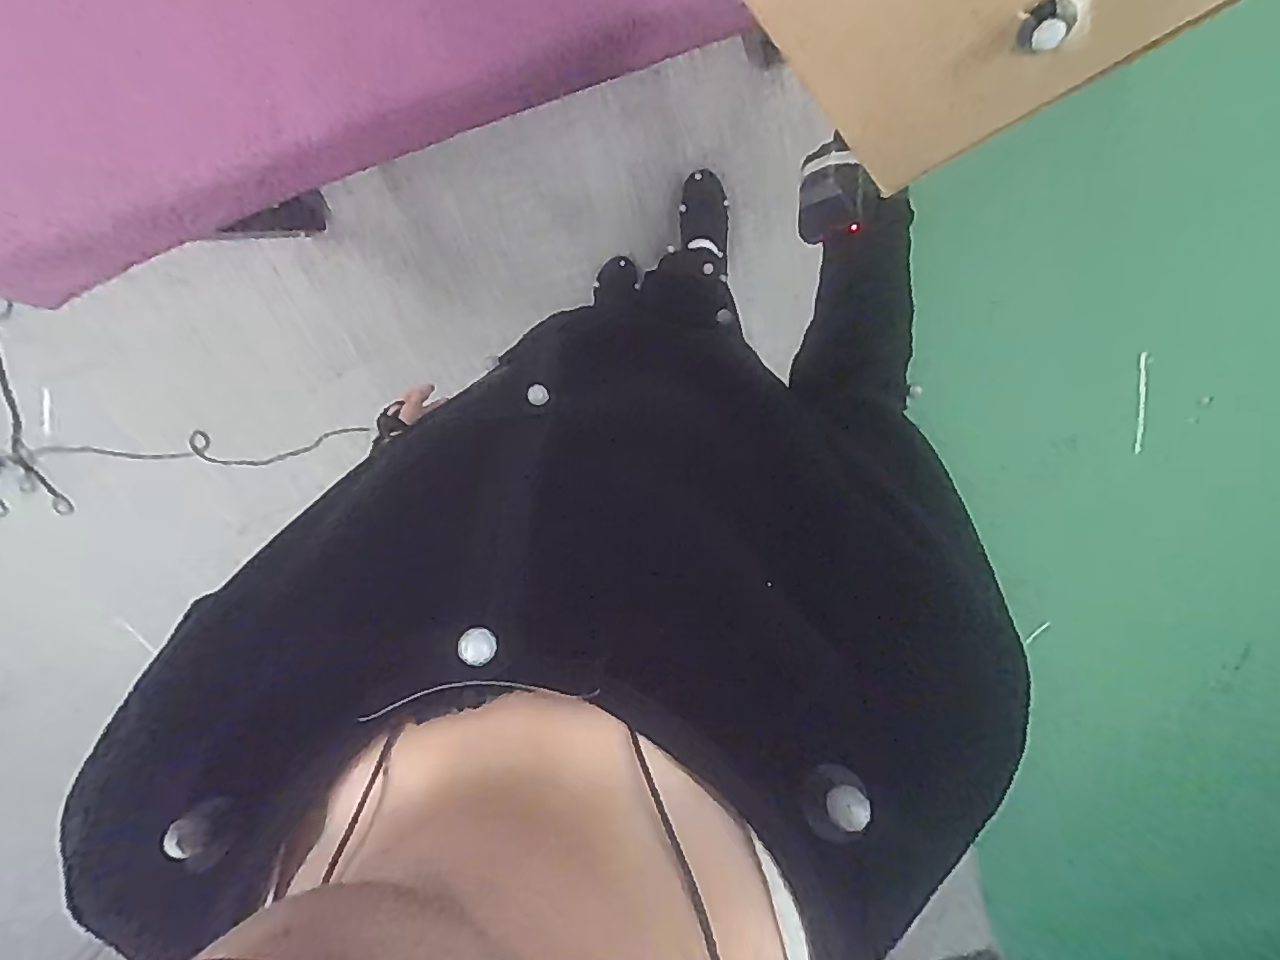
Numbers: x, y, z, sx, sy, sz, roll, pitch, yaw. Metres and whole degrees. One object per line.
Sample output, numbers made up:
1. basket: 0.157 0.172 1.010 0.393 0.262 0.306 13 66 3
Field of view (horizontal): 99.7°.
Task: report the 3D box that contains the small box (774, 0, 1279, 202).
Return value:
1. small box: 0.165 -0.280 0.241 0.176 0.168 0.179 27 154 -35
